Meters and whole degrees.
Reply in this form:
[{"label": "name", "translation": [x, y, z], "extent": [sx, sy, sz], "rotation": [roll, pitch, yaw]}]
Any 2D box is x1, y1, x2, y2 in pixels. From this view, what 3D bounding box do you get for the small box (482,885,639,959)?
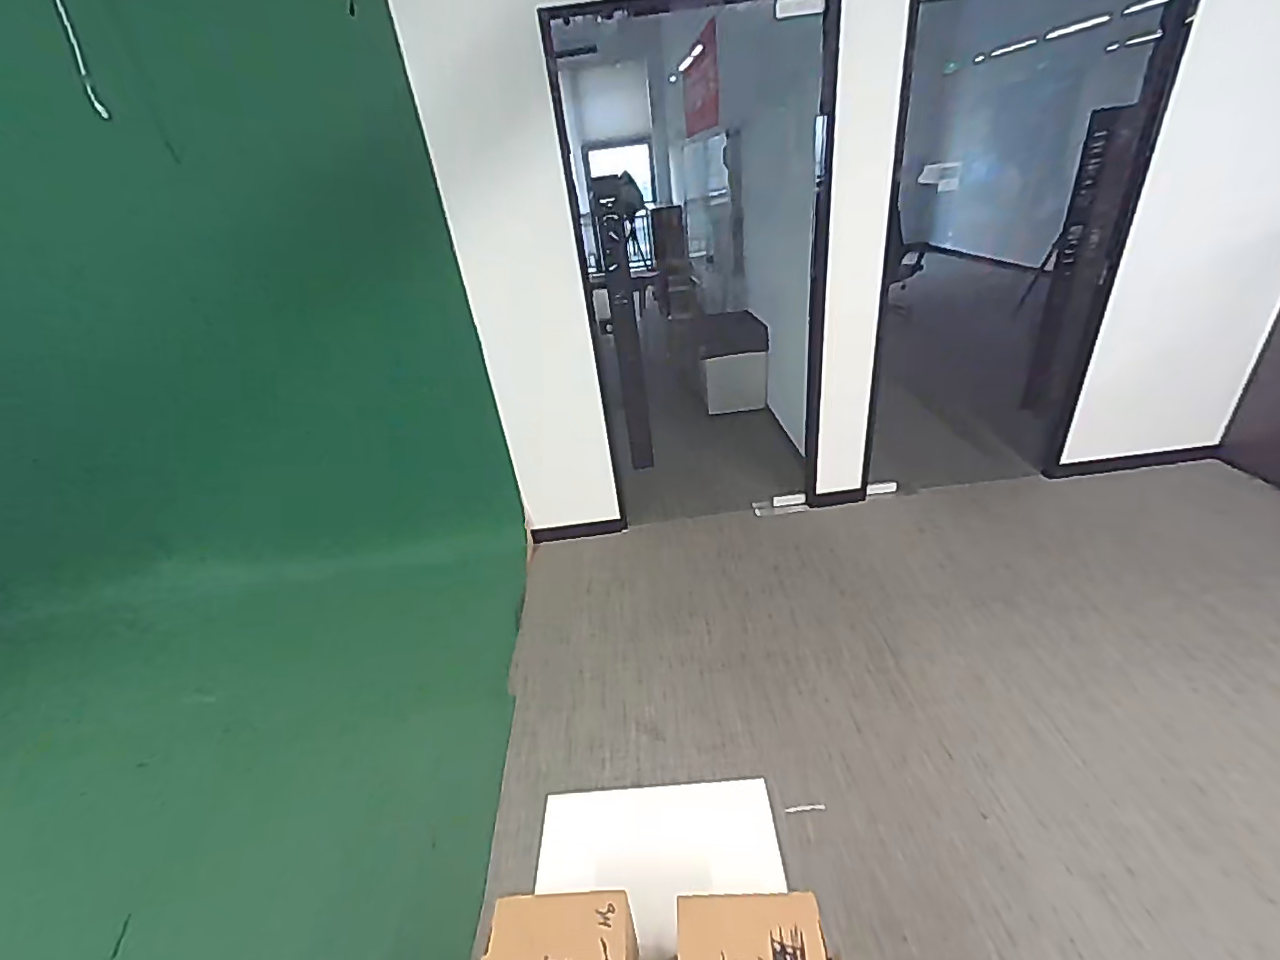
[{"label": "small box", "translation": [-0.098, 0.648, 0.680], "extent": [0.179, 0.176, 0.168], "rotation": [-5, 30, 2]}]
